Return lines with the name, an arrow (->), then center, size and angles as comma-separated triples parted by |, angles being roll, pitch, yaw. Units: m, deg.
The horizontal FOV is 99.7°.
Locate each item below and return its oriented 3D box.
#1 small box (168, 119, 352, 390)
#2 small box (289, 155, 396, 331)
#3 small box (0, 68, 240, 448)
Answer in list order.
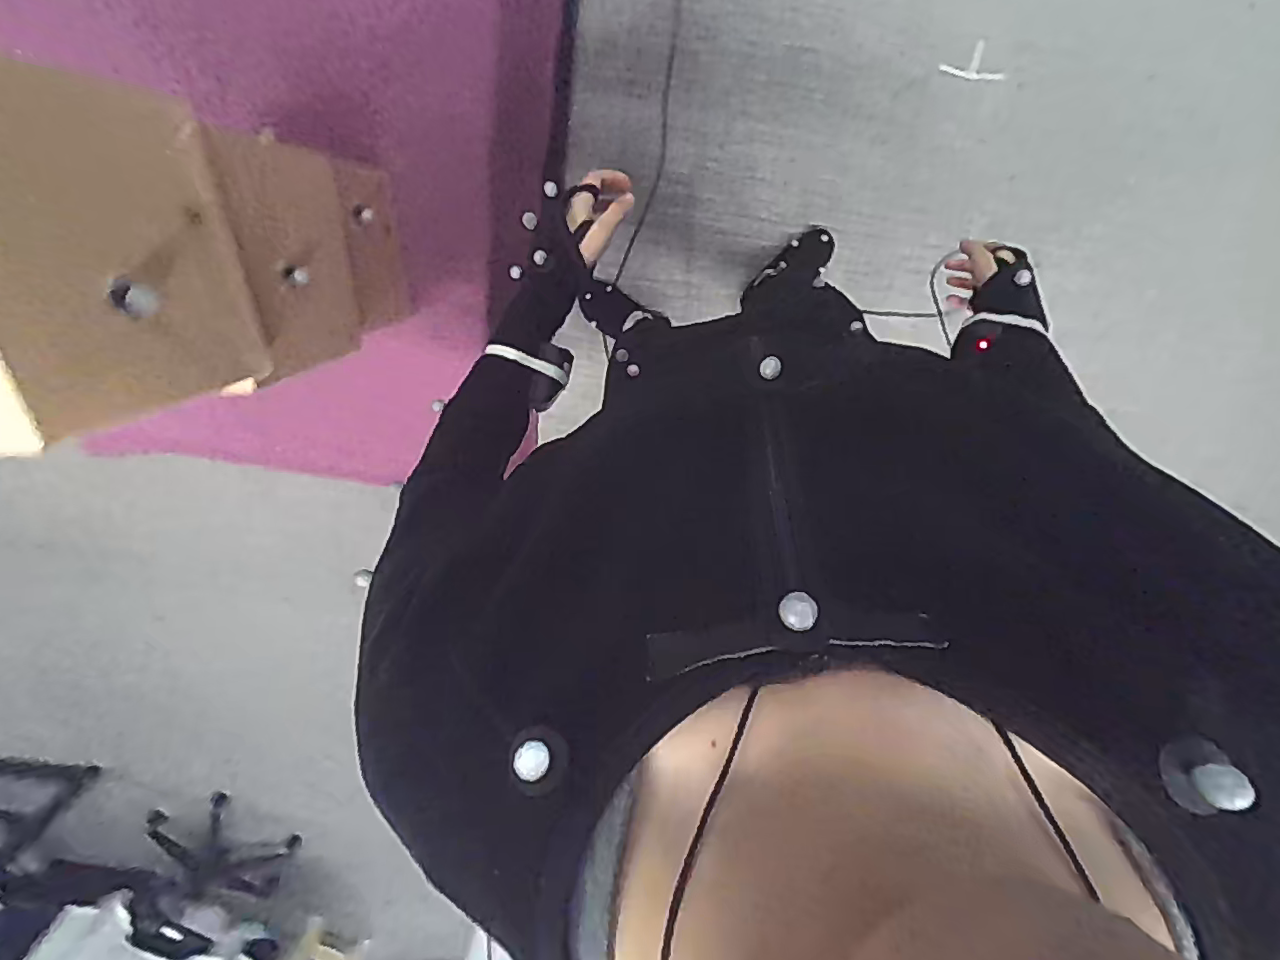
small box -> -0.372, -0.183, 0.447 | 0.168, 0.176, 0.179 | 2, 115, 2
small box -> -0.390, -0.257, 0.593 | 0.179, 0.176, 0.168 | 3, 114, 3
small box -> -0.368, -0.121, 0.296 | 0.179, 0.176, 0.168 | -1, 115, 4
